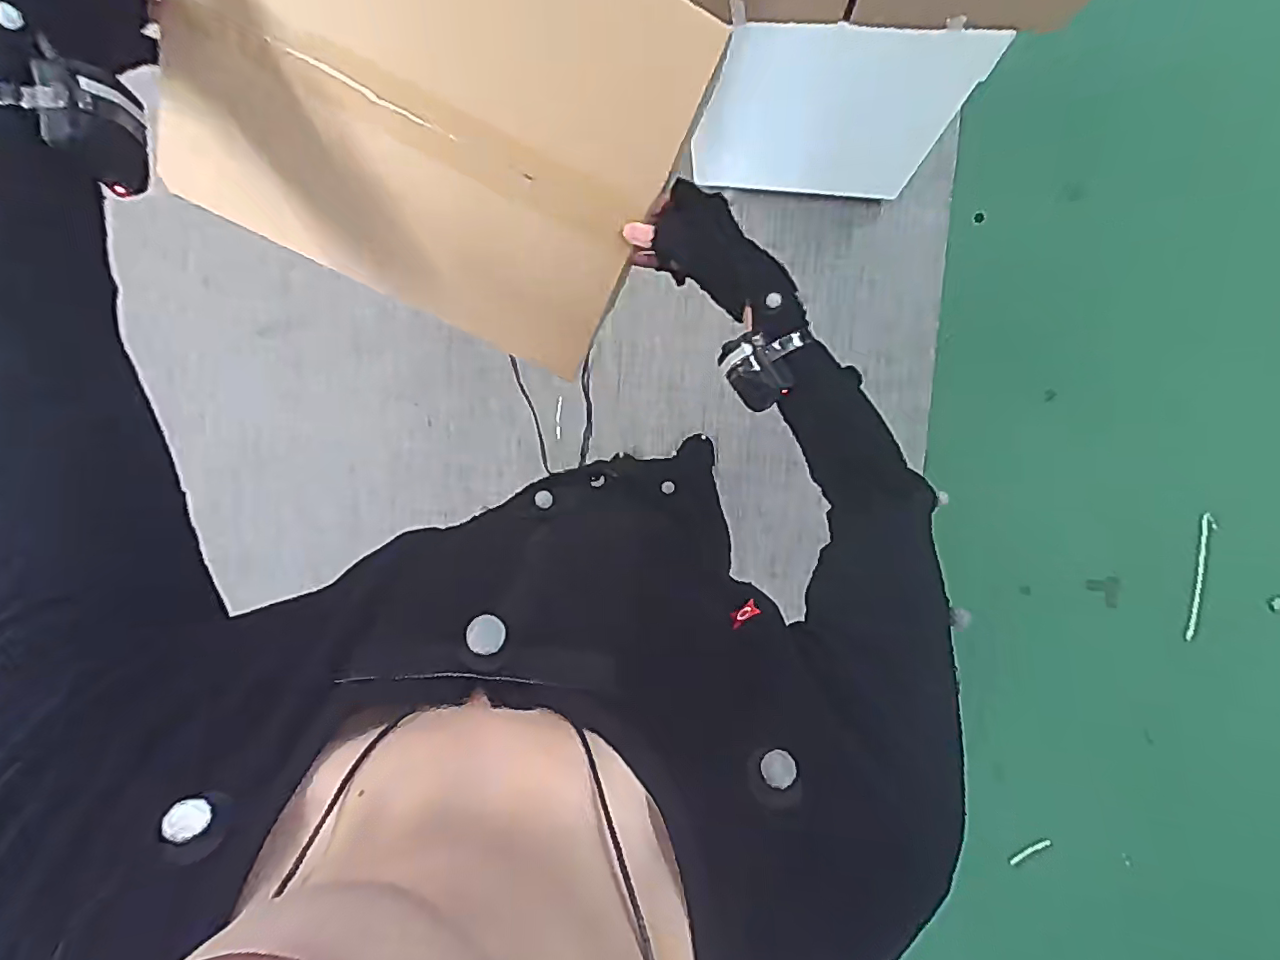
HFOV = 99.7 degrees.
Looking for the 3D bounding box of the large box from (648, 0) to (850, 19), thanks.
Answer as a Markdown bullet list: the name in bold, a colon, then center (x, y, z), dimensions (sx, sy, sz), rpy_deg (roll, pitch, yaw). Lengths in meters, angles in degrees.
- **large box**: center (0.160, -0.906, 0.683), dimensions (0.320, 0.320, 0.408), rpy_deg (8, 93, 8)
